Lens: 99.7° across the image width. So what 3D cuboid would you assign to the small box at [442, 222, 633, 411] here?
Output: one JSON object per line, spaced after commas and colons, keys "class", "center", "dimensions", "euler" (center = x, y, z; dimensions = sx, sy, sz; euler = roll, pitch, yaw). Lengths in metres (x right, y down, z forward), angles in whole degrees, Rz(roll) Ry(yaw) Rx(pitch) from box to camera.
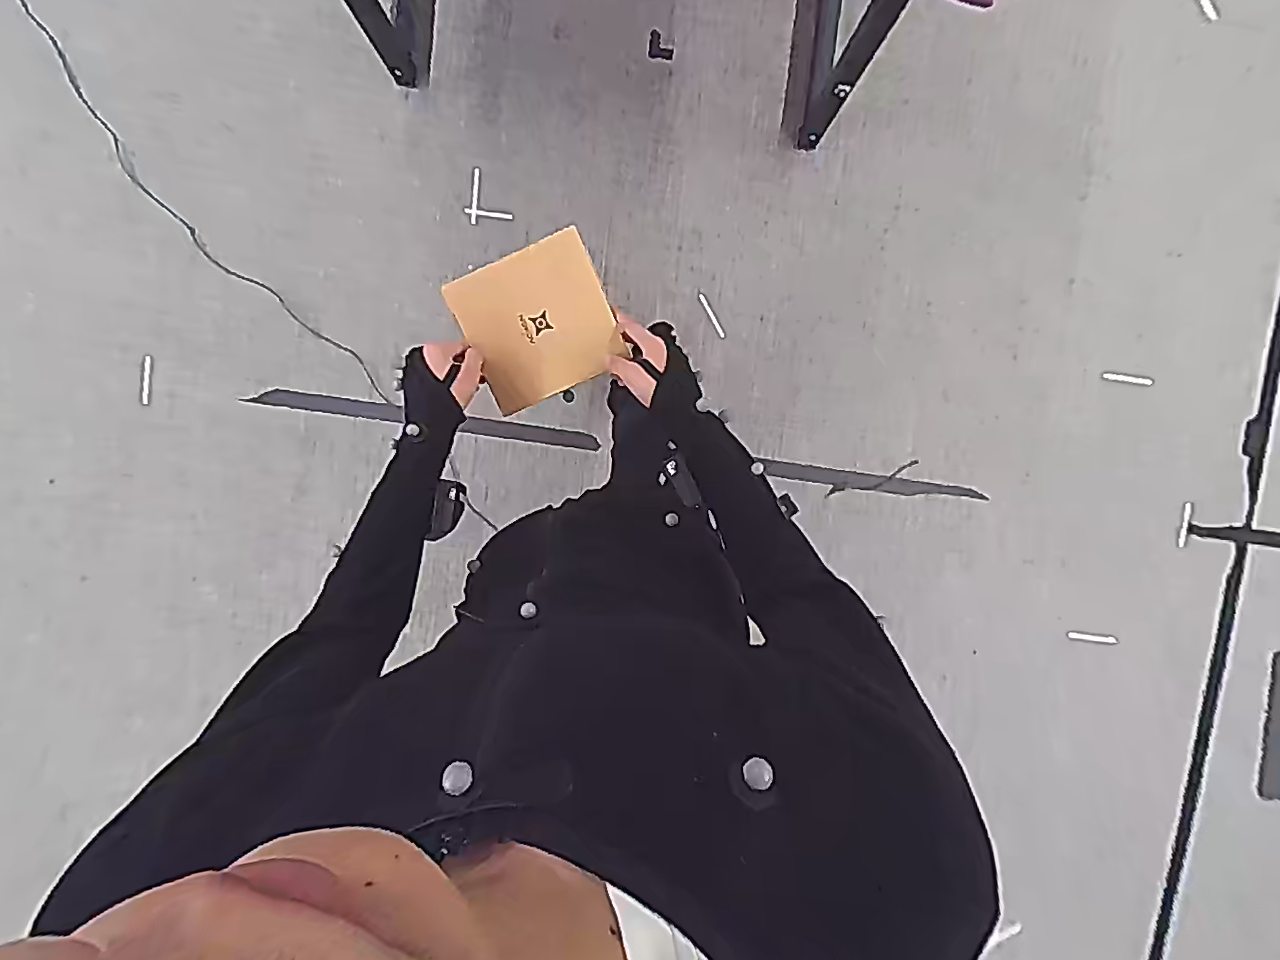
{"class": "small box", "center": [-0.120, -0.209, 0.709], "dimensions": [0.179, 0.176, 0.168], "euler": [-23, 104, 7]}
